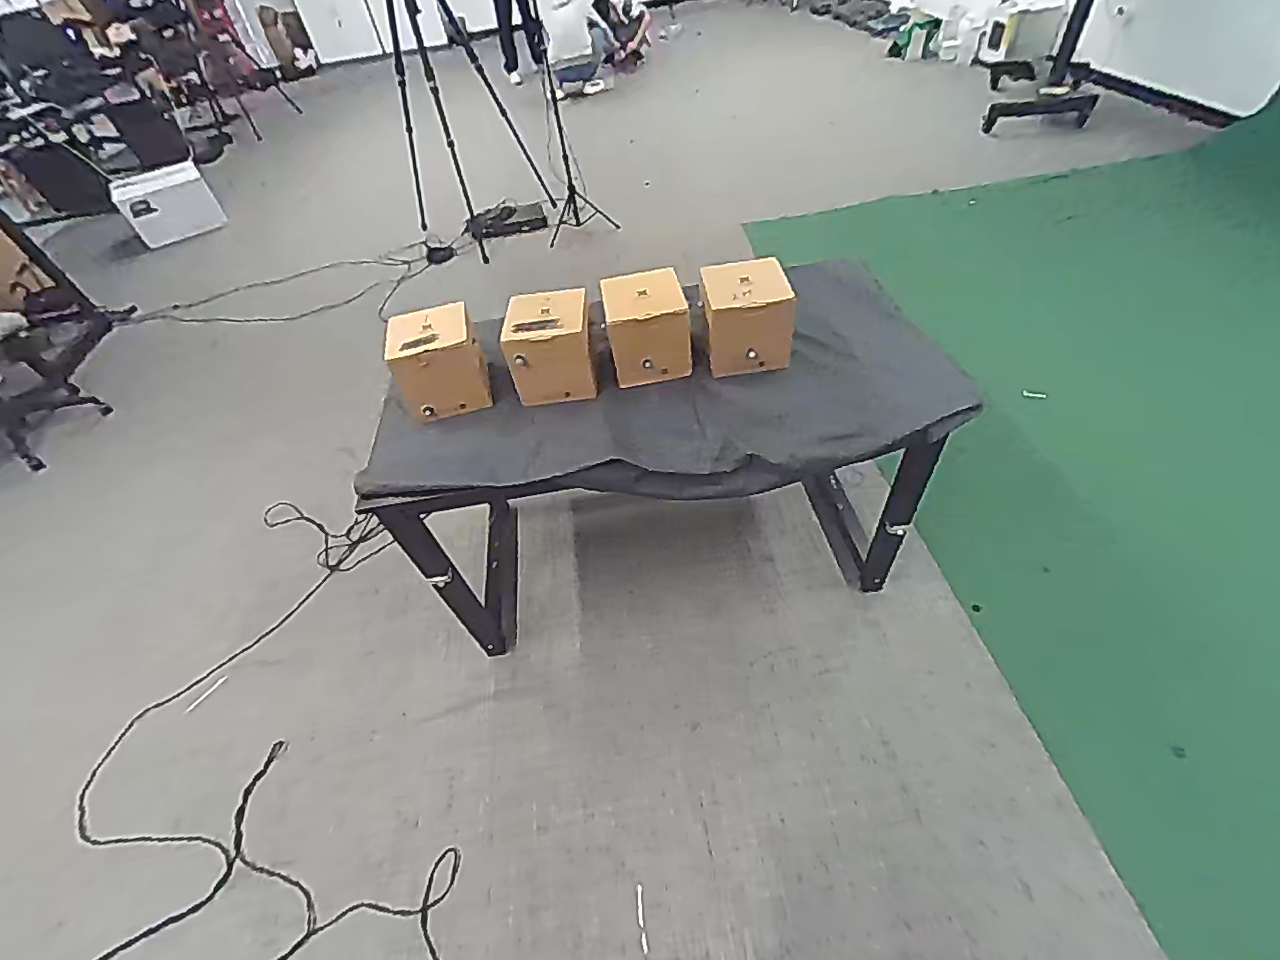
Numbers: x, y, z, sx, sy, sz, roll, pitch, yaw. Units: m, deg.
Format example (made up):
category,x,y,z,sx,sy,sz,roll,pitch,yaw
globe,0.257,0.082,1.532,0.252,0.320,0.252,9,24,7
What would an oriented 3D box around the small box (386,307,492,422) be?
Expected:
category,x,y,z,sx,sy,sz,roll,pitch,yaw
small box,-0.430,-0.245,1.175,0.168,0.176,0.179,-15,47,-6
